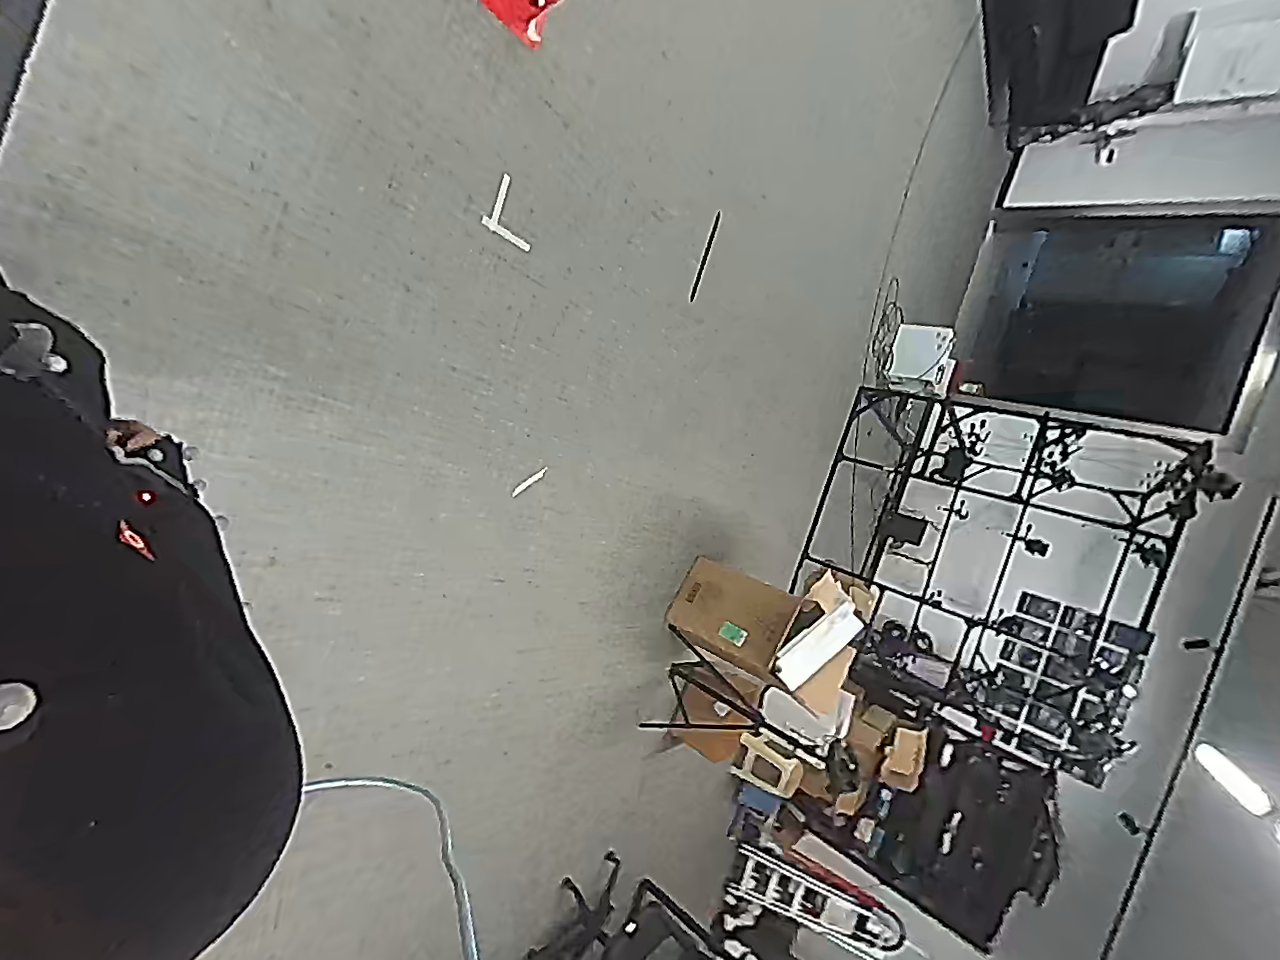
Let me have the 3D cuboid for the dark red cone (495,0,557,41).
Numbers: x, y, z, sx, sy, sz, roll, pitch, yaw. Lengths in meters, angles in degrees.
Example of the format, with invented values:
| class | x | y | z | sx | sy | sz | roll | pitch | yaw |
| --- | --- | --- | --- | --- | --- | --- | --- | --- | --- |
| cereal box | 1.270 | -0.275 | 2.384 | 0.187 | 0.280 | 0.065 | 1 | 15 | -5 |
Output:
| class | x | y | z | sx | sy | sz | roll | pitch | yaw |
| --- | --- | --- | --- | --- | --- | --- | --- | --- | --- |
| dark red cone | -0.165 | -1.213 | 1.257 | 0.201 | 0.394 | 0.202 | 6 | 101 | -52 |
